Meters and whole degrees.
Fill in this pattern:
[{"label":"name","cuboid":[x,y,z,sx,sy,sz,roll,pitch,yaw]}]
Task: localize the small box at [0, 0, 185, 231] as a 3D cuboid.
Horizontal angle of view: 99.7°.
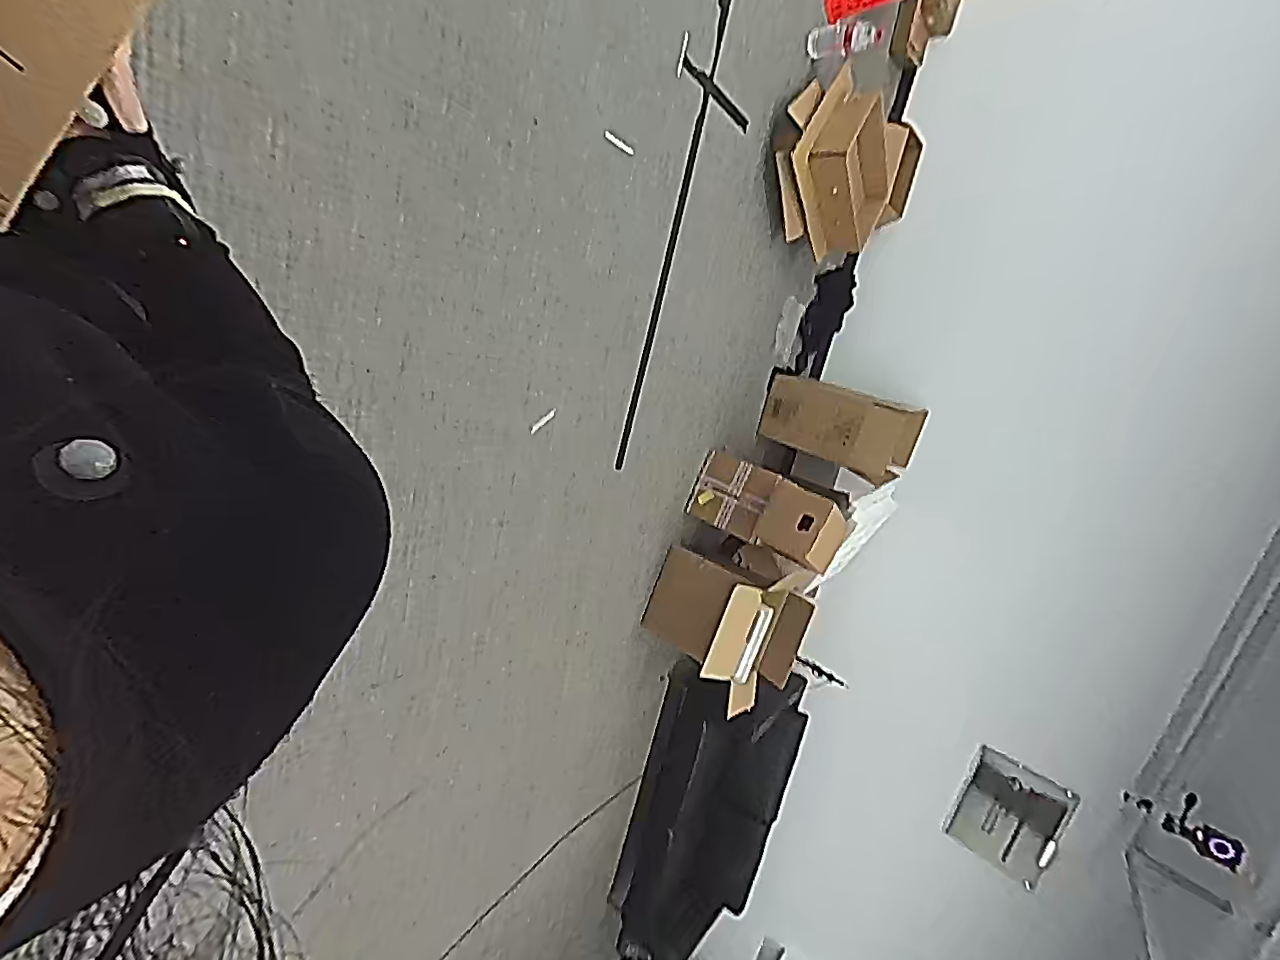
[{"label":"small box","cuboid":[-0.383,-0.262,0.267,0.168,0.176,0.179,-54,145,2]}]
